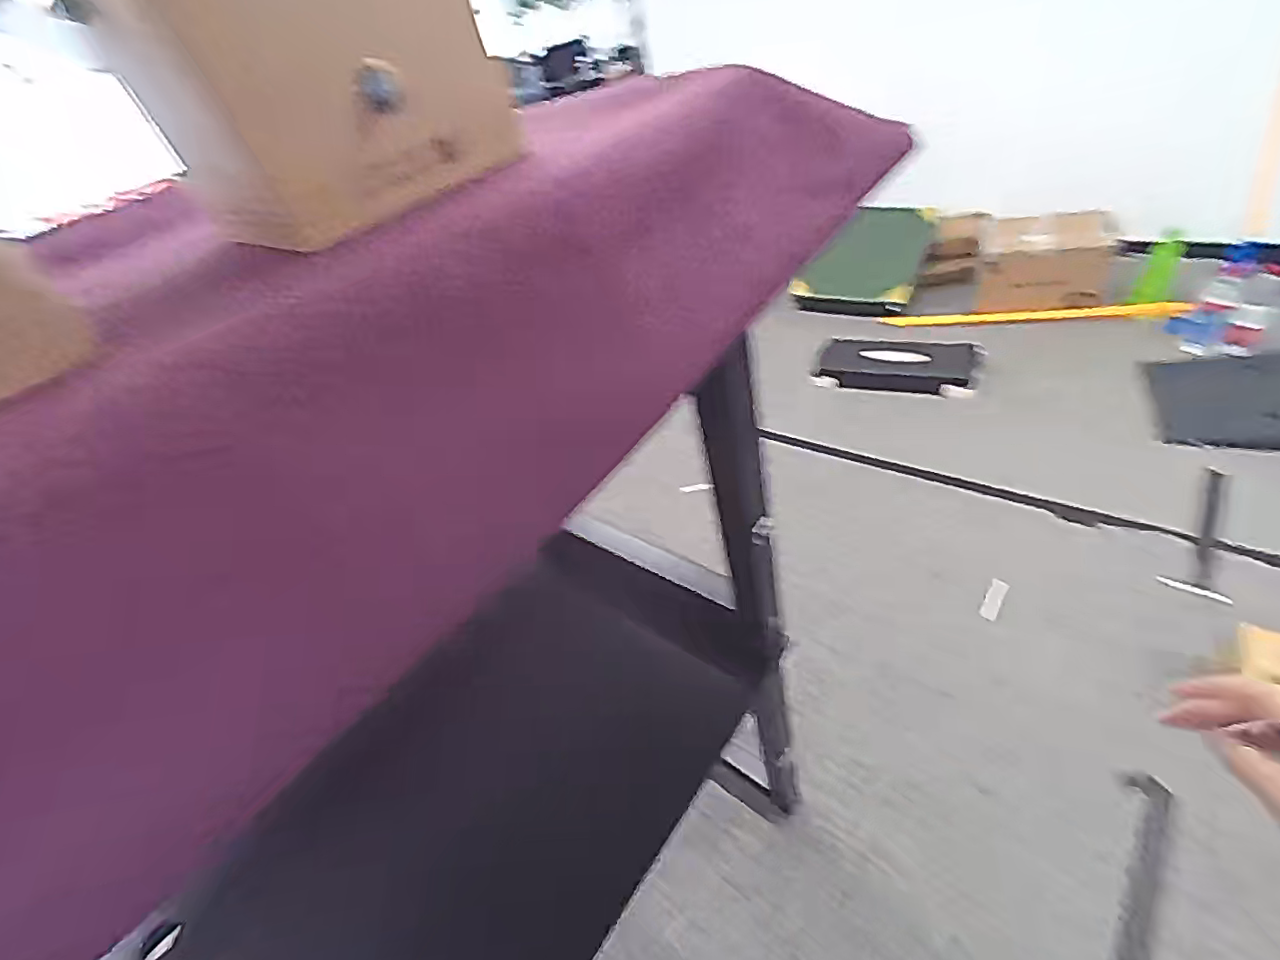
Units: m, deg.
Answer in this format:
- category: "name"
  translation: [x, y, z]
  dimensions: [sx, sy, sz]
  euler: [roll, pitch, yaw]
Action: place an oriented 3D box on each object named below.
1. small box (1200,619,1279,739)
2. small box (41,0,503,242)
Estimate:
- category: "small box"
  translation: [1.405, 0.453, 1.211]
  dimensions: [0.168, 0.176, 0.179]
  euler: [15, 50, 31]
- category: "small box"
  translation: [-0.216, -0.257, 0.321]
  dimensions: [0.179, 0.176, 0.168]
  euler: [23, 56, 38]
